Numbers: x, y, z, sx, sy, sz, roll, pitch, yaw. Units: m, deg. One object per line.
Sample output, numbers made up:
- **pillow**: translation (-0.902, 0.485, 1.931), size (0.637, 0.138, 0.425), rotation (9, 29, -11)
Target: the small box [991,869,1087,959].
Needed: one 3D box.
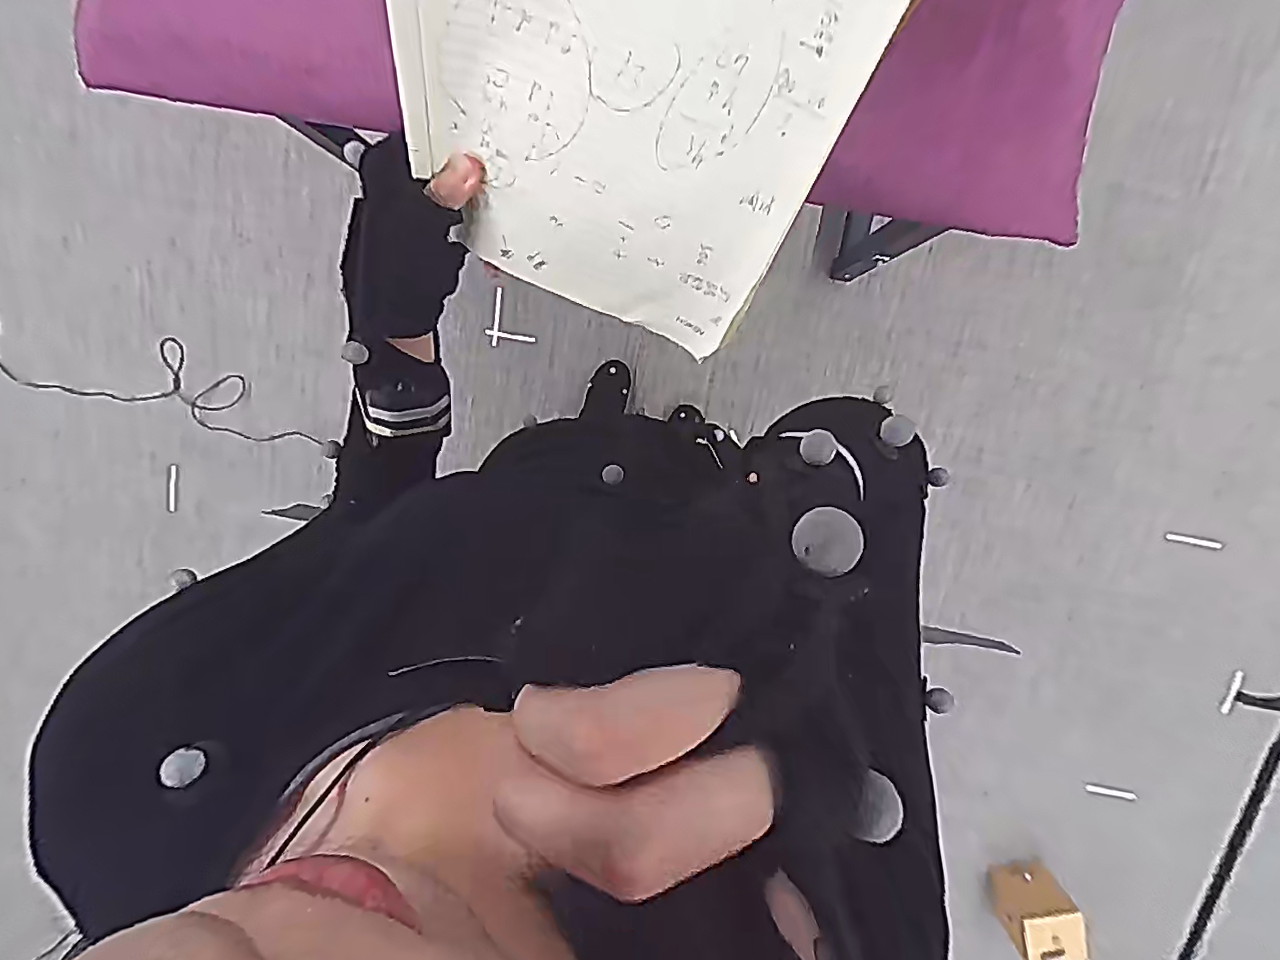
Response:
- **small box**: translation (1.190, 1.317, 1.619), size (0.168, 0.176, 0.179), rotation (-12, 99, 4)

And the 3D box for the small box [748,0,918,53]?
- **small box**: translation (0.226, -0.593, 0.562), size (0.179, 0.176, 0.168), rotation (13, 98, 1)
